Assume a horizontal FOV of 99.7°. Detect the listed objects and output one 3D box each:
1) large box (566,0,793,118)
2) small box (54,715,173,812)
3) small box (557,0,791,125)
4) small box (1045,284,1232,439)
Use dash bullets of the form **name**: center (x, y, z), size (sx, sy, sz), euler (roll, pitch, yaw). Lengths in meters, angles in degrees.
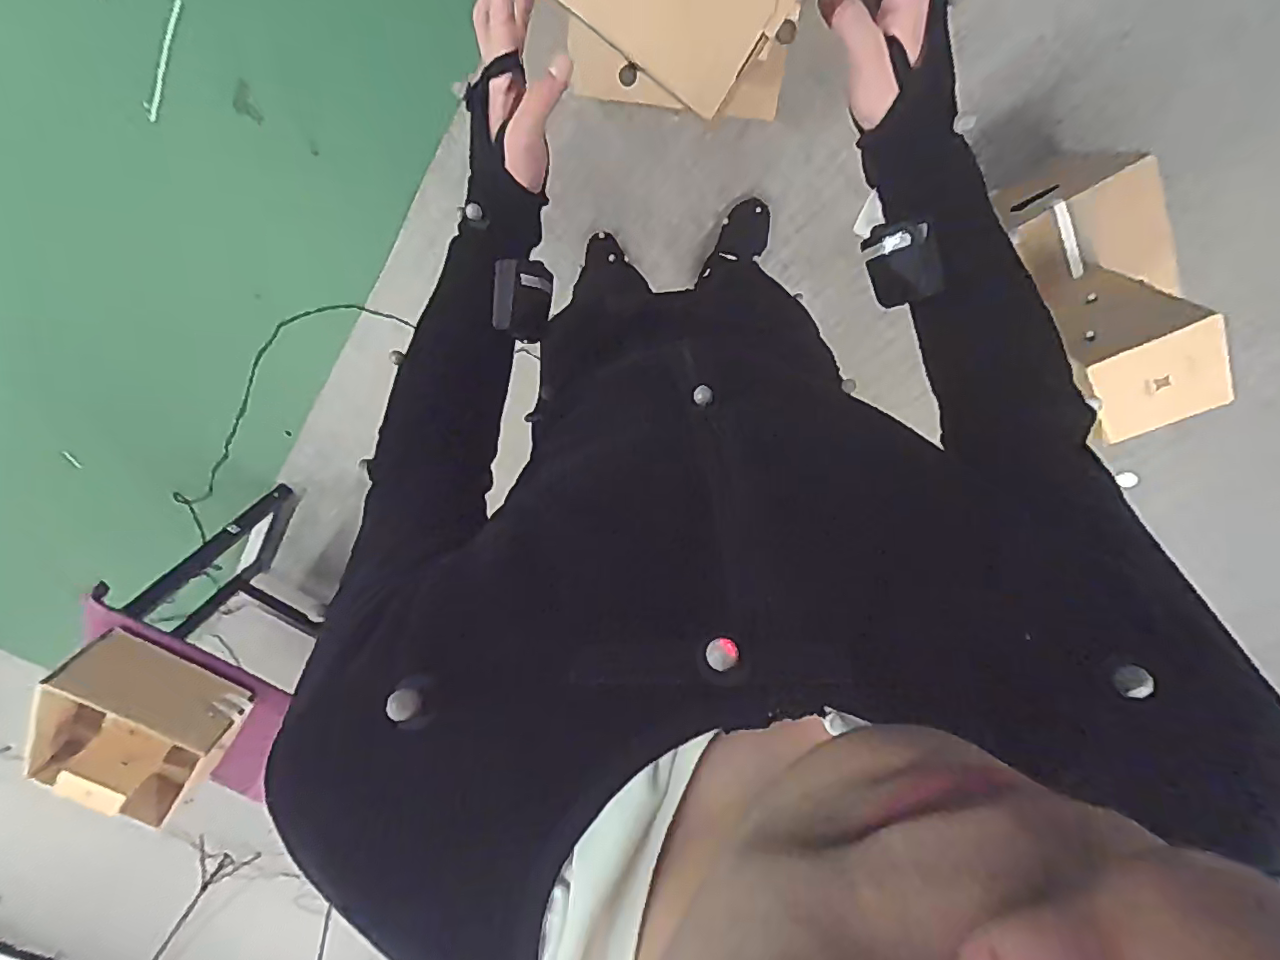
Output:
- **large box**: center (0.090, -0.918, 1.067), size (0.408, 0.320, 0.320), euler (10, 122, 4)
- **small box**: center (-1.497, 0.806, 1.548), size (0.168, 0.176, 0.179), euler (38, 119, -17)
- **small box**: center (0.033, -0.397, 0.395), size (0.179, 0.176, 0.168), euler (32, 121, -13)
- **small box**: center (0.830, -0.204, 0.920), size (0.179, 0.176, 0.168), euler (-25, 116, 23)
